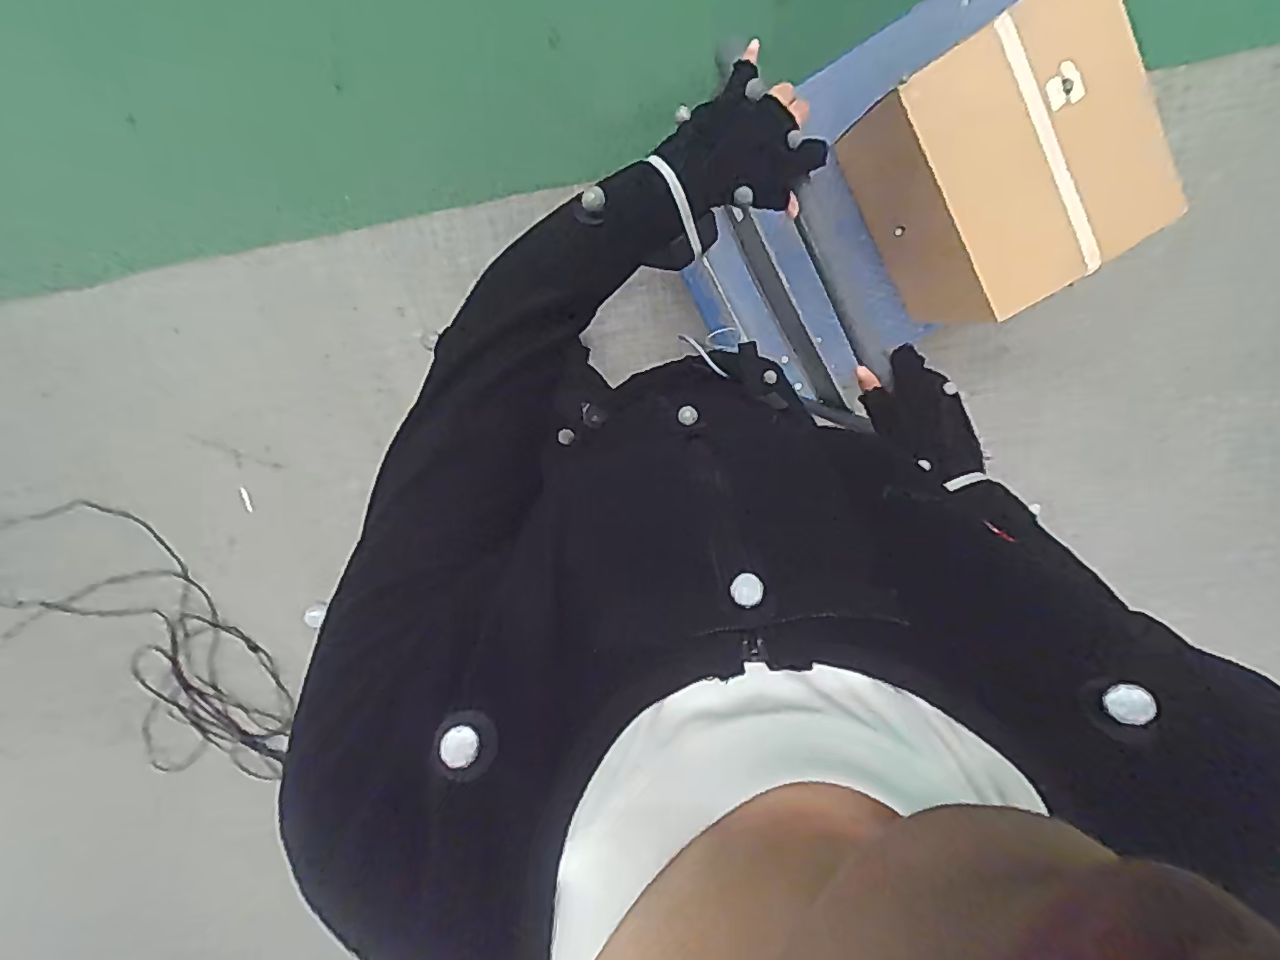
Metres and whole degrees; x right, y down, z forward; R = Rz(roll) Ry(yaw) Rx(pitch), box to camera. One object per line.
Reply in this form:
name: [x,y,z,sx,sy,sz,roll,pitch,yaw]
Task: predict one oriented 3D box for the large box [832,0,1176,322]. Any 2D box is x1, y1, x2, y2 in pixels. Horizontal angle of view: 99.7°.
large box: [0.616,-0.542,0.978,0.320,0.320,0.408,-31,103,9]
